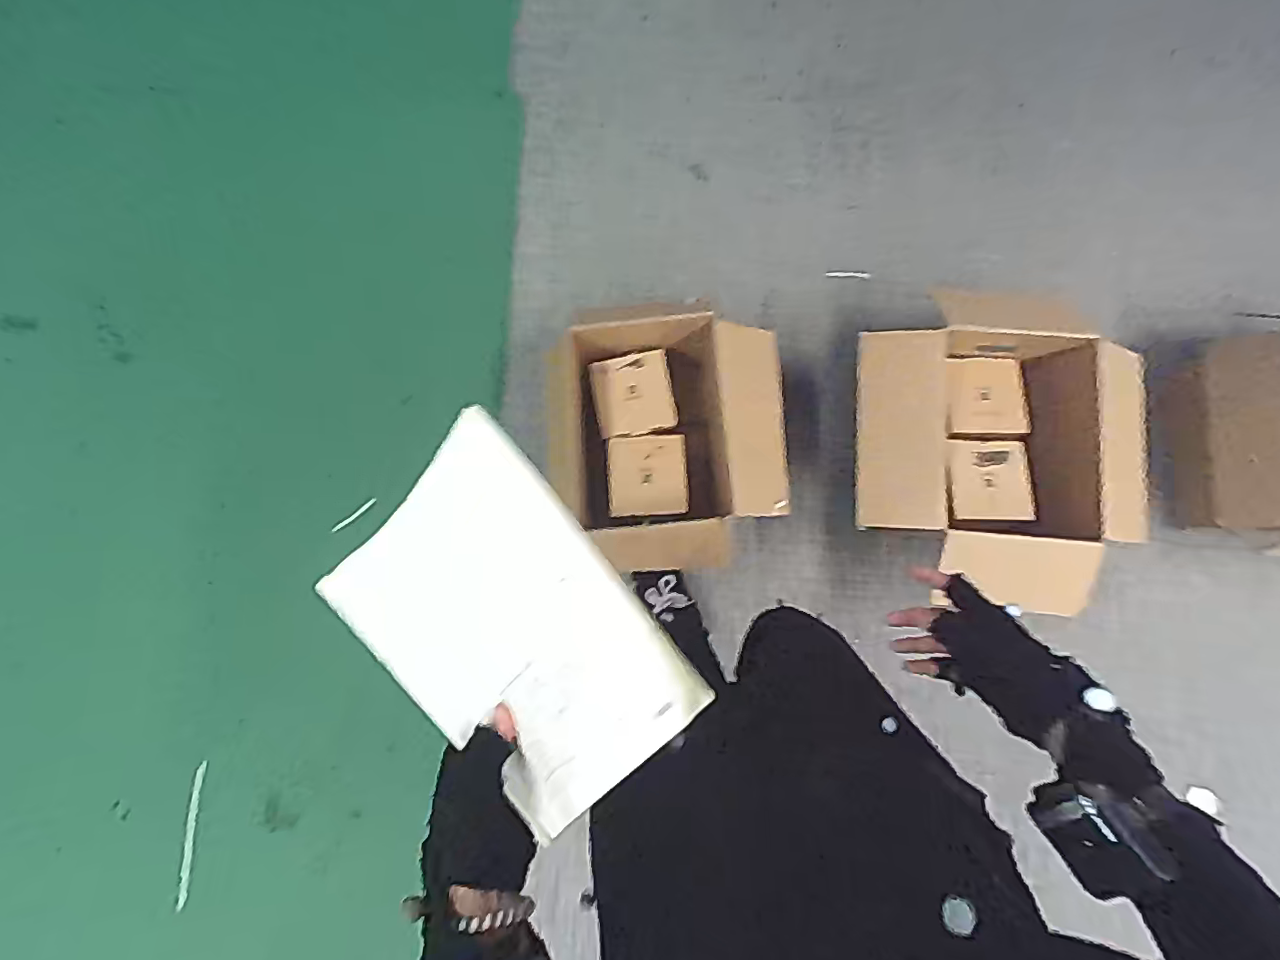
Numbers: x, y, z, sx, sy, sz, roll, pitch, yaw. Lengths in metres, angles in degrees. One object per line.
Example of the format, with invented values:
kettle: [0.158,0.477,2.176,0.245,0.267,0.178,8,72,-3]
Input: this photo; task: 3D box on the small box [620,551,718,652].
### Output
small box: [0.065,0.275,1.256,0.179,0.176,0.168,18,95,17]
